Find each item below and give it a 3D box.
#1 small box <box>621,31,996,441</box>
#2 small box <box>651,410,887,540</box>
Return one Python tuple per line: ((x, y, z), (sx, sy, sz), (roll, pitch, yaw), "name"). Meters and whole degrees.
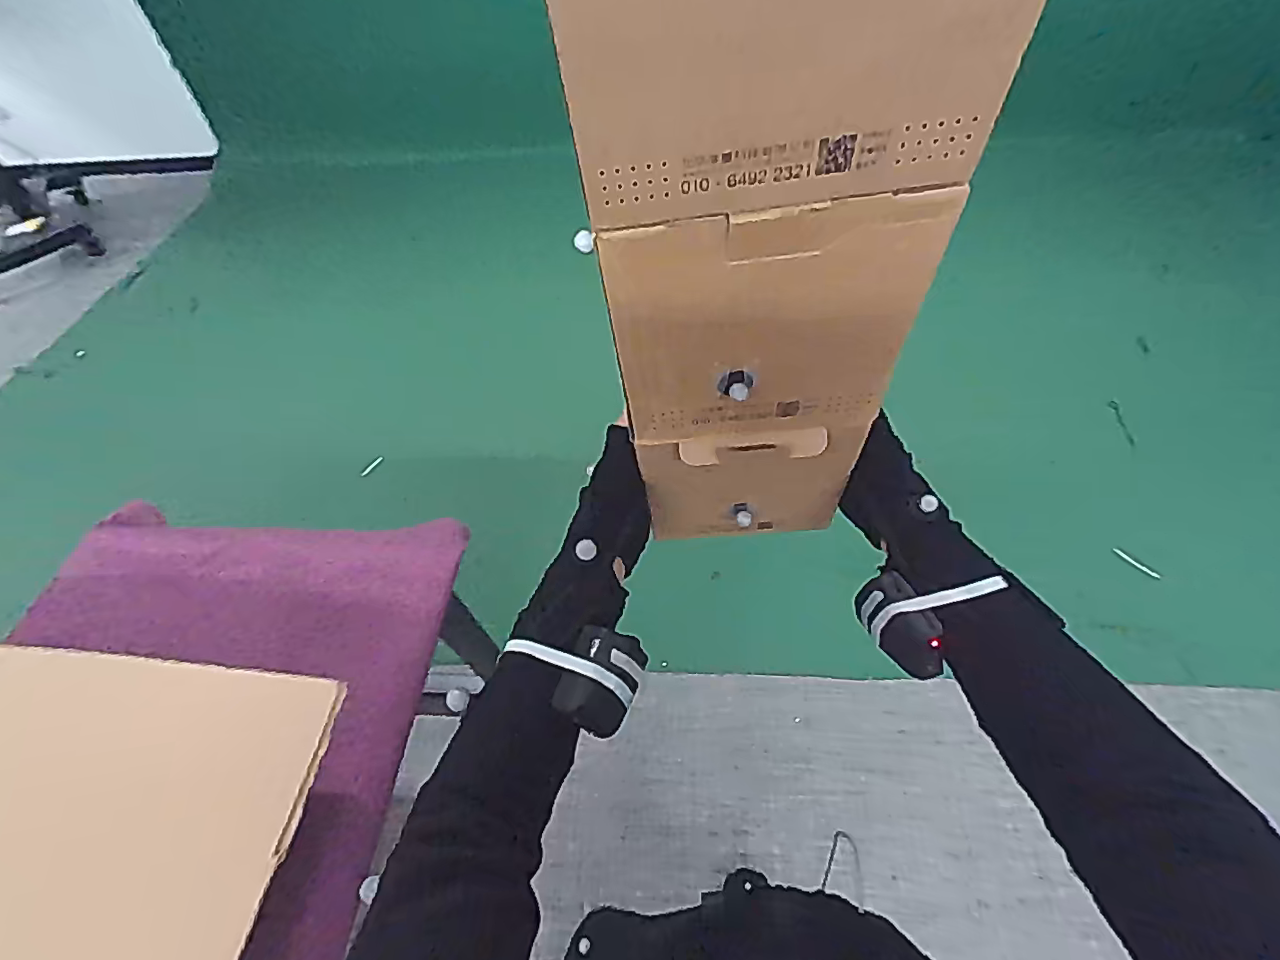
((0.078, -0.147, 0.351), (0.168, 0.176, 0.179), (-5, 59, 3), "small box")
((0.096, -0.062, 0.488), (0.168, 0.176, 0.179), (-4, 58, 5), "small box")
